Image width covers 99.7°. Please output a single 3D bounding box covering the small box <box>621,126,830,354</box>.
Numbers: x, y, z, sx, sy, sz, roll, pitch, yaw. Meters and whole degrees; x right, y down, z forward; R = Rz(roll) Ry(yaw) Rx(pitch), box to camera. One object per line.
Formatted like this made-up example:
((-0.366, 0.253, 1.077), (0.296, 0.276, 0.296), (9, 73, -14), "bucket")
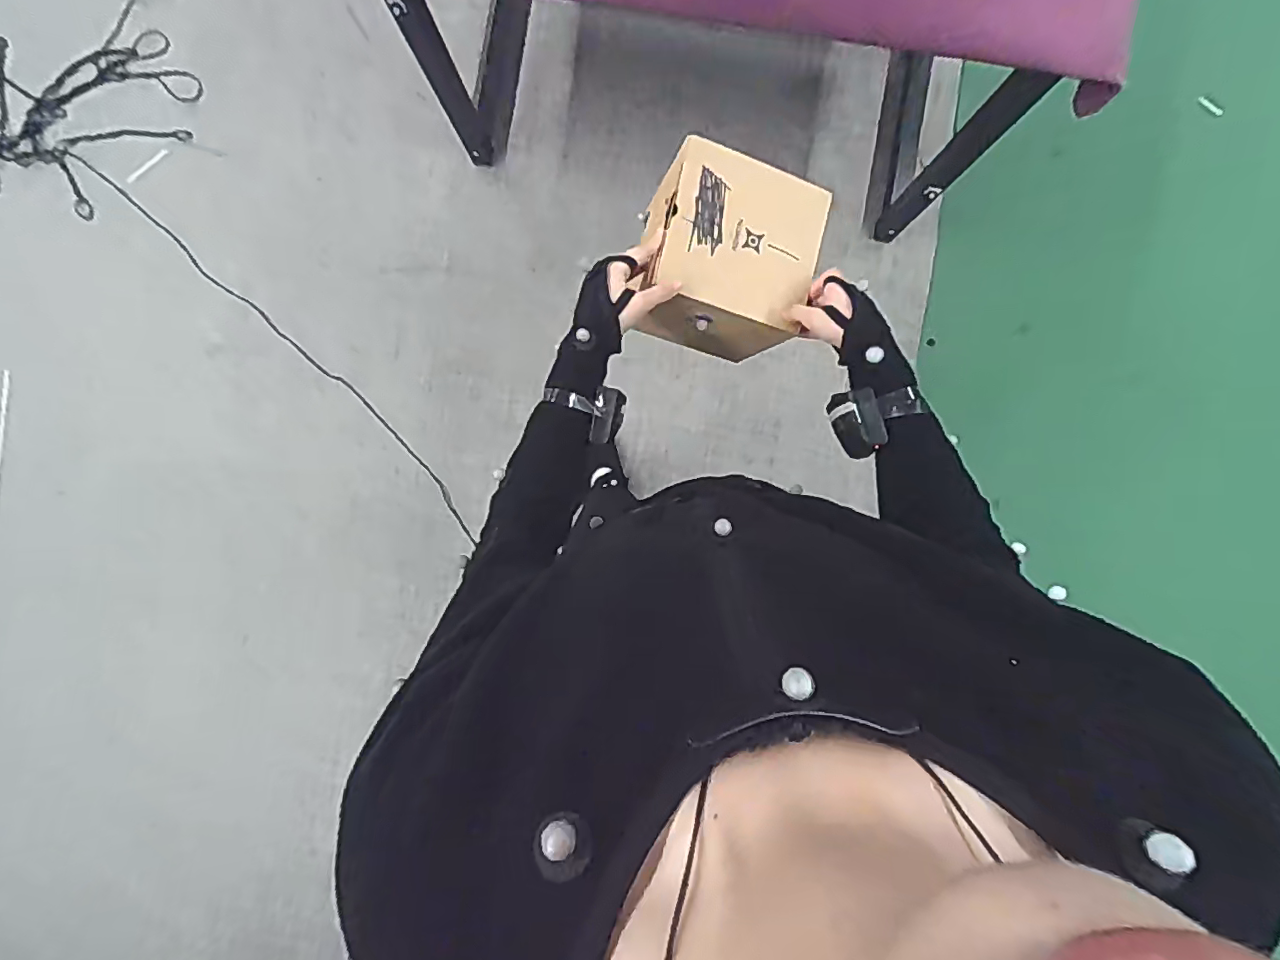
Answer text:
((0.088, -0.262, 0.642), (0.179, 0.176, 0.168), (15, 88, -14), "small box")
